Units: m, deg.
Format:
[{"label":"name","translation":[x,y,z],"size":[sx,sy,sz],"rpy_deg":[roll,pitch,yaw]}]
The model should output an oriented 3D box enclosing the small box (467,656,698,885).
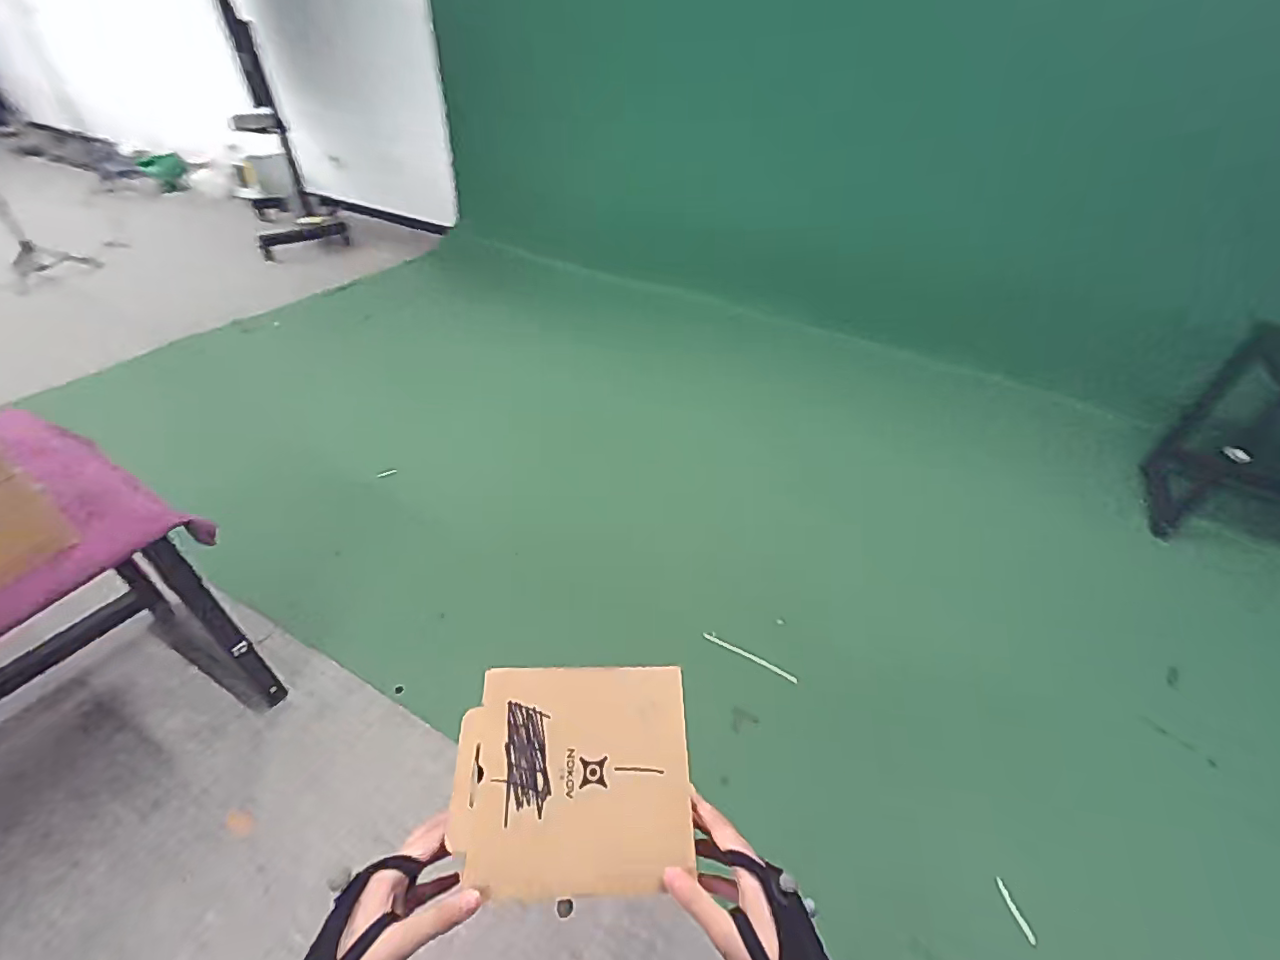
[{"label":"small box","translation":[-0.049,0.274,0.511],"size":[0.179,0.176,0.168],"rpy_deg":[-1,57,-5]}]
